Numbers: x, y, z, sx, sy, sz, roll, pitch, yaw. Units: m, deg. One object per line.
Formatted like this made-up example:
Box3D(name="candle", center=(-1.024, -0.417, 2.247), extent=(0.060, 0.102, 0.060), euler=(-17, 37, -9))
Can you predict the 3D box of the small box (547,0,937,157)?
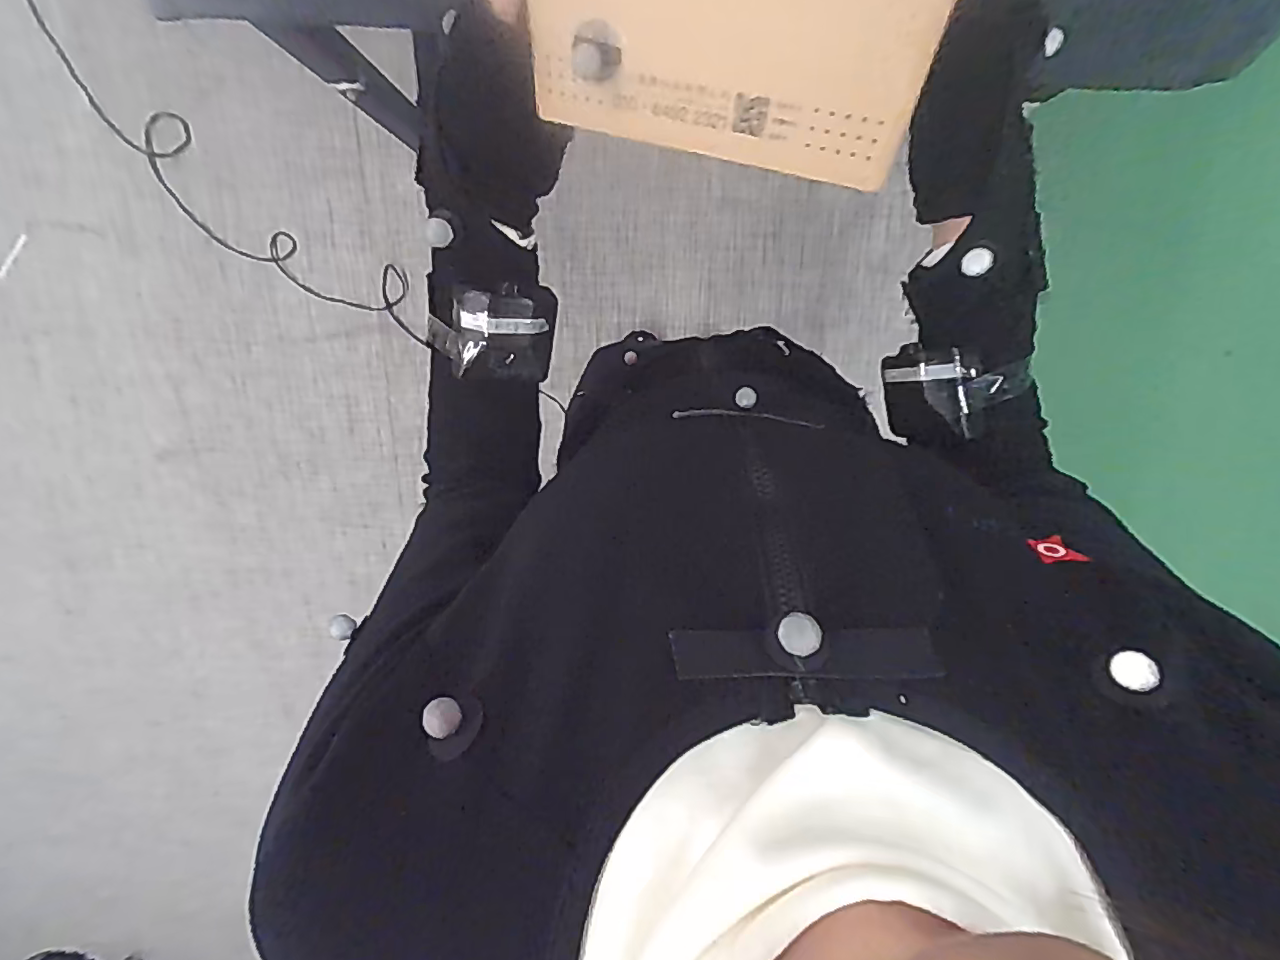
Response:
Box3D(name="small box", center=(0.062, -0.271, 0.239), extent=(0.168, 0.179, 0.176), euler=(19, 143, 10))
